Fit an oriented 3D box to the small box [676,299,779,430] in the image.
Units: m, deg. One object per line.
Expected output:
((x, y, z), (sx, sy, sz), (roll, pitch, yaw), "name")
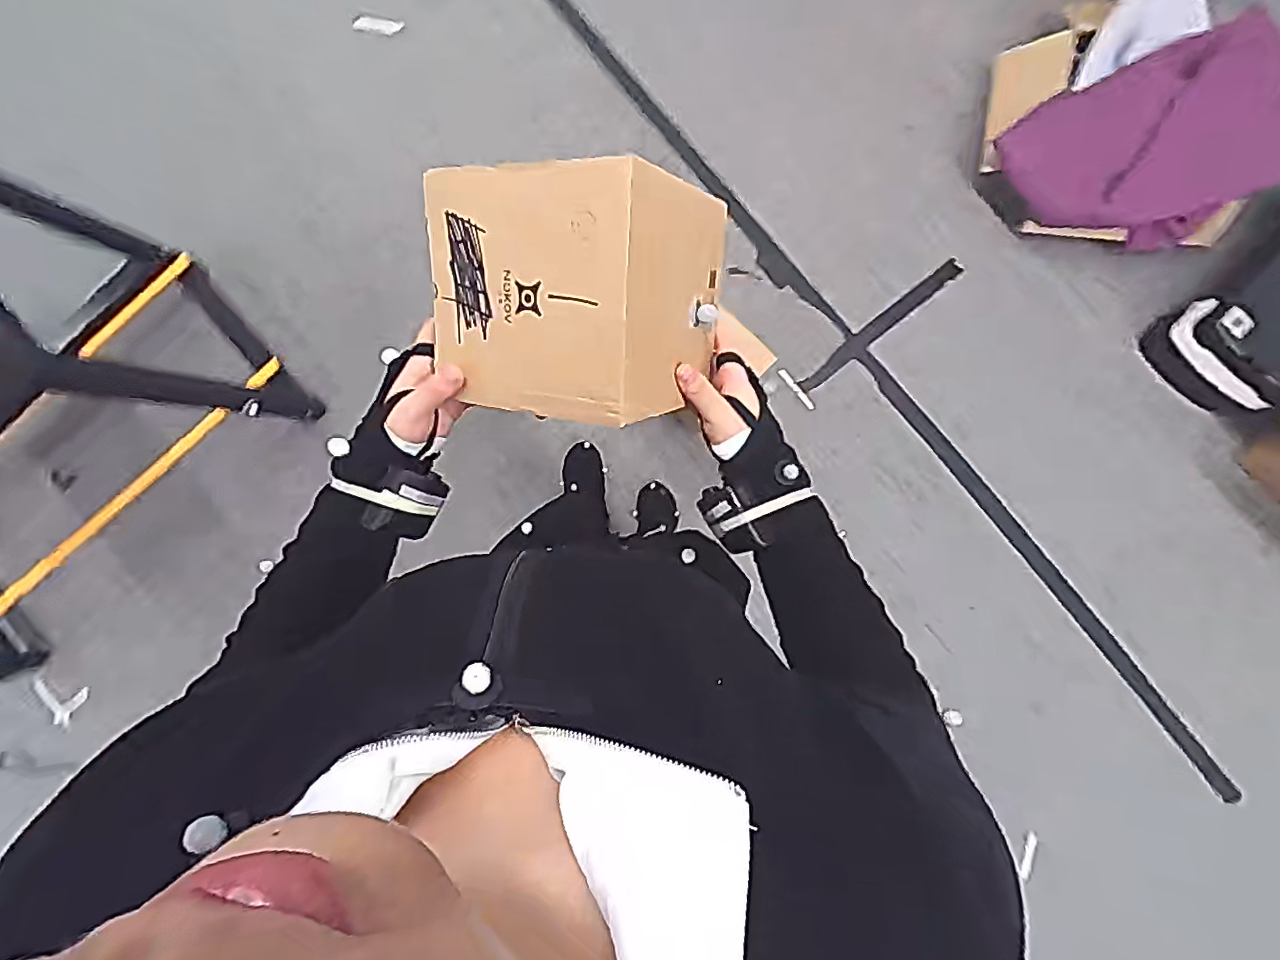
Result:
((0.141, -0.217, 1.066), (0.168, 0.176, 0.179), (45, 93, 2), "small box")

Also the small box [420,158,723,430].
((-0.048, -0.145, 0.442), (0.179, 0.176, 0.168), (11, 110, 26), "small box")
